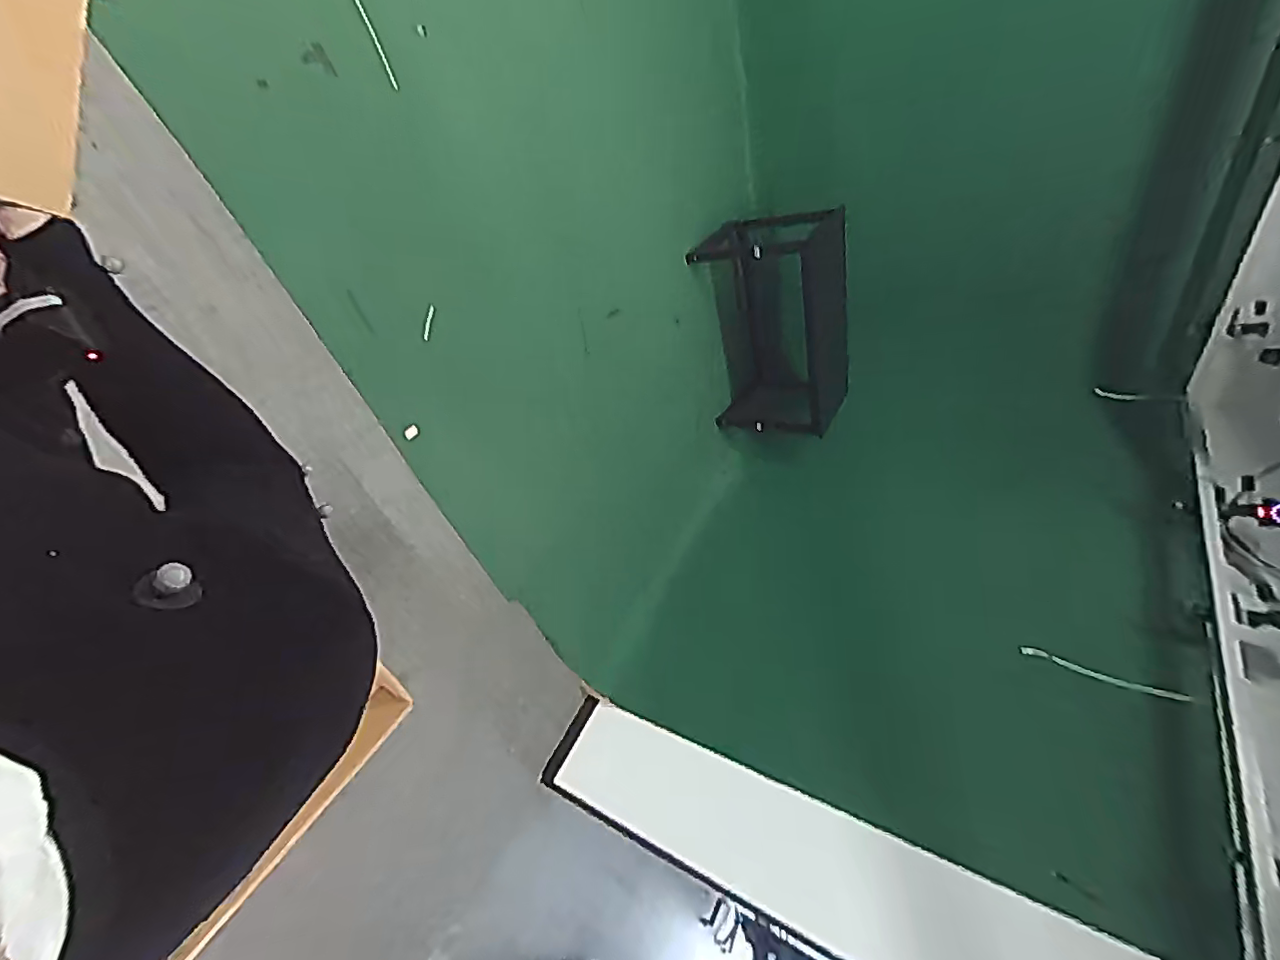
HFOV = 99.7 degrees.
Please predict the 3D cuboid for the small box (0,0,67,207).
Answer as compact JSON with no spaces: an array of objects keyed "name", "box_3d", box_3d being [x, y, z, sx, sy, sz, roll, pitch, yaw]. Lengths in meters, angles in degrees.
[{"name":"small box","box_3d":[-0.420,-0.258,0.266,0.168,0.176,0.179,-2,107,-58]}]
